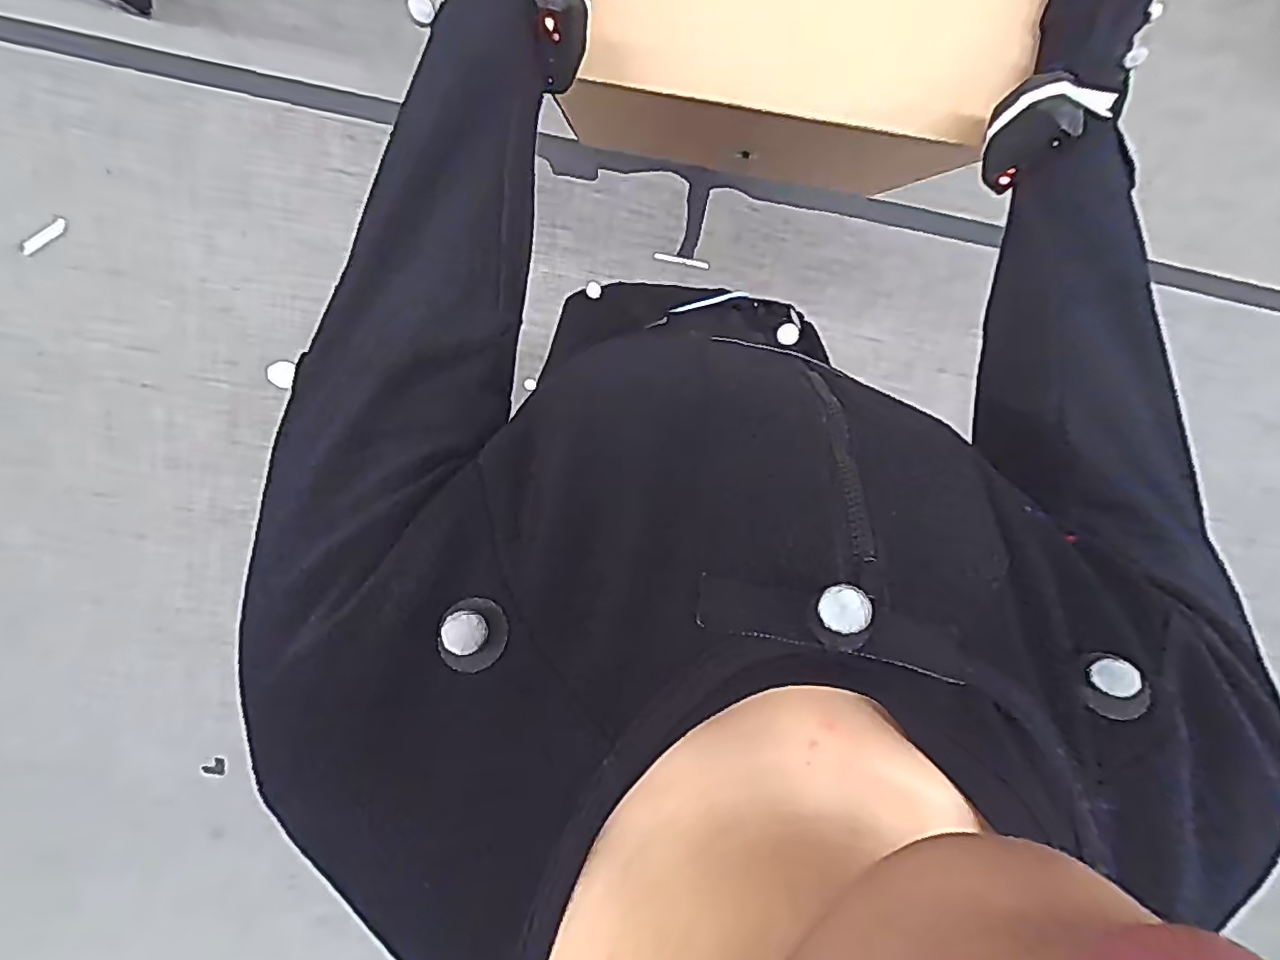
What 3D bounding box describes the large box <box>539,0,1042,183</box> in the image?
[{"bbox_3d":[0.139,-0.514,0.540,0.408,0.320,0.320,9,111,-2],"label":"large box"}]
